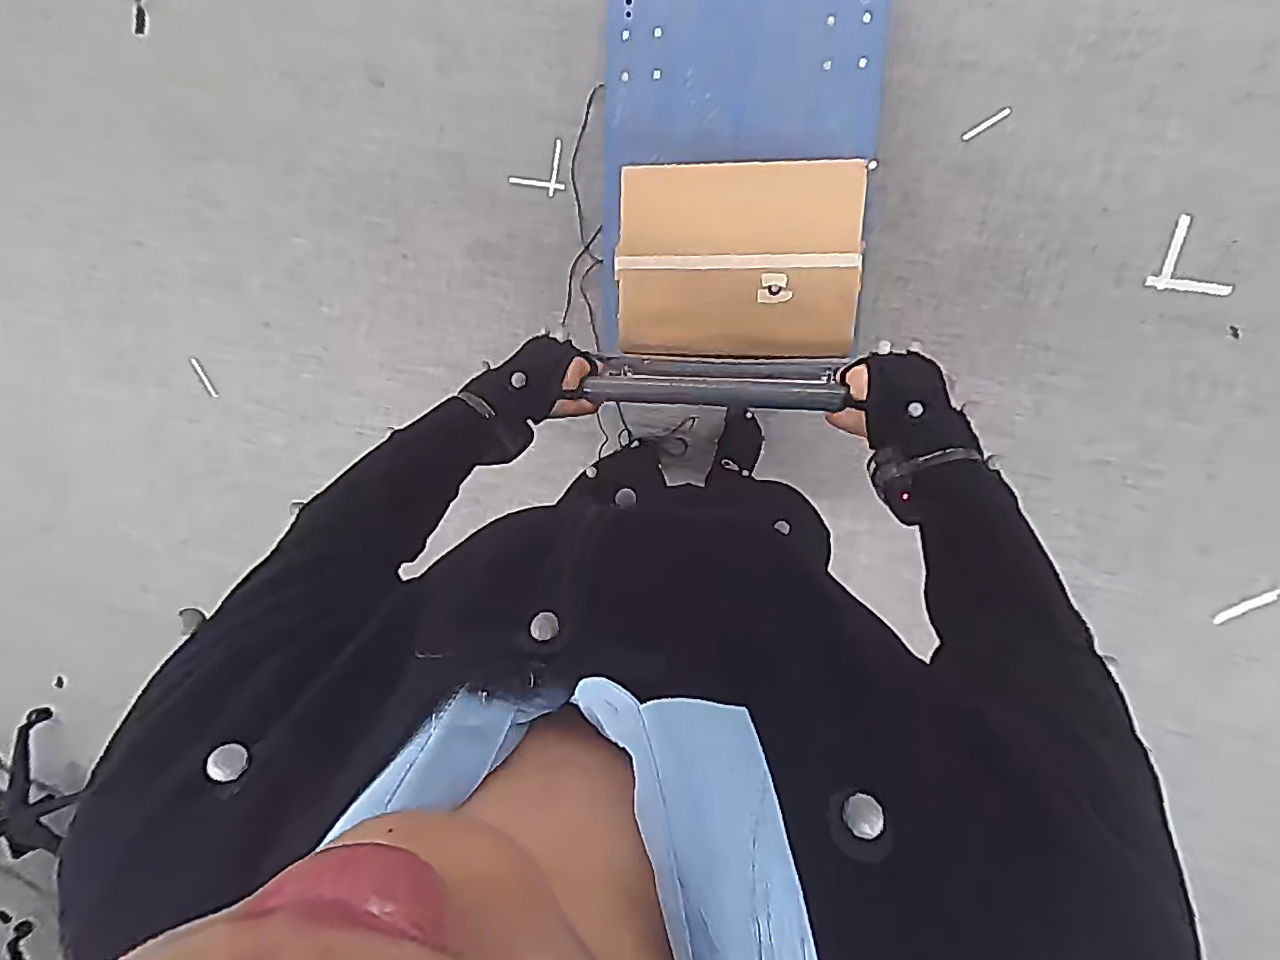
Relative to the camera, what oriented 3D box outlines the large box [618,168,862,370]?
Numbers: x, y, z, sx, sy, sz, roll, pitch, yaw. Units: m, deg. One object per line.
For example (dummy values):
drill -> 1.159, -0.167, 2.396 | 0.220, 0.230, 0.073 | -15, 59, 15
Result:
large box -> 0.178, -0.379, 1.062 | 0.408, 0.320, 0.320 | 3, 101, 8
